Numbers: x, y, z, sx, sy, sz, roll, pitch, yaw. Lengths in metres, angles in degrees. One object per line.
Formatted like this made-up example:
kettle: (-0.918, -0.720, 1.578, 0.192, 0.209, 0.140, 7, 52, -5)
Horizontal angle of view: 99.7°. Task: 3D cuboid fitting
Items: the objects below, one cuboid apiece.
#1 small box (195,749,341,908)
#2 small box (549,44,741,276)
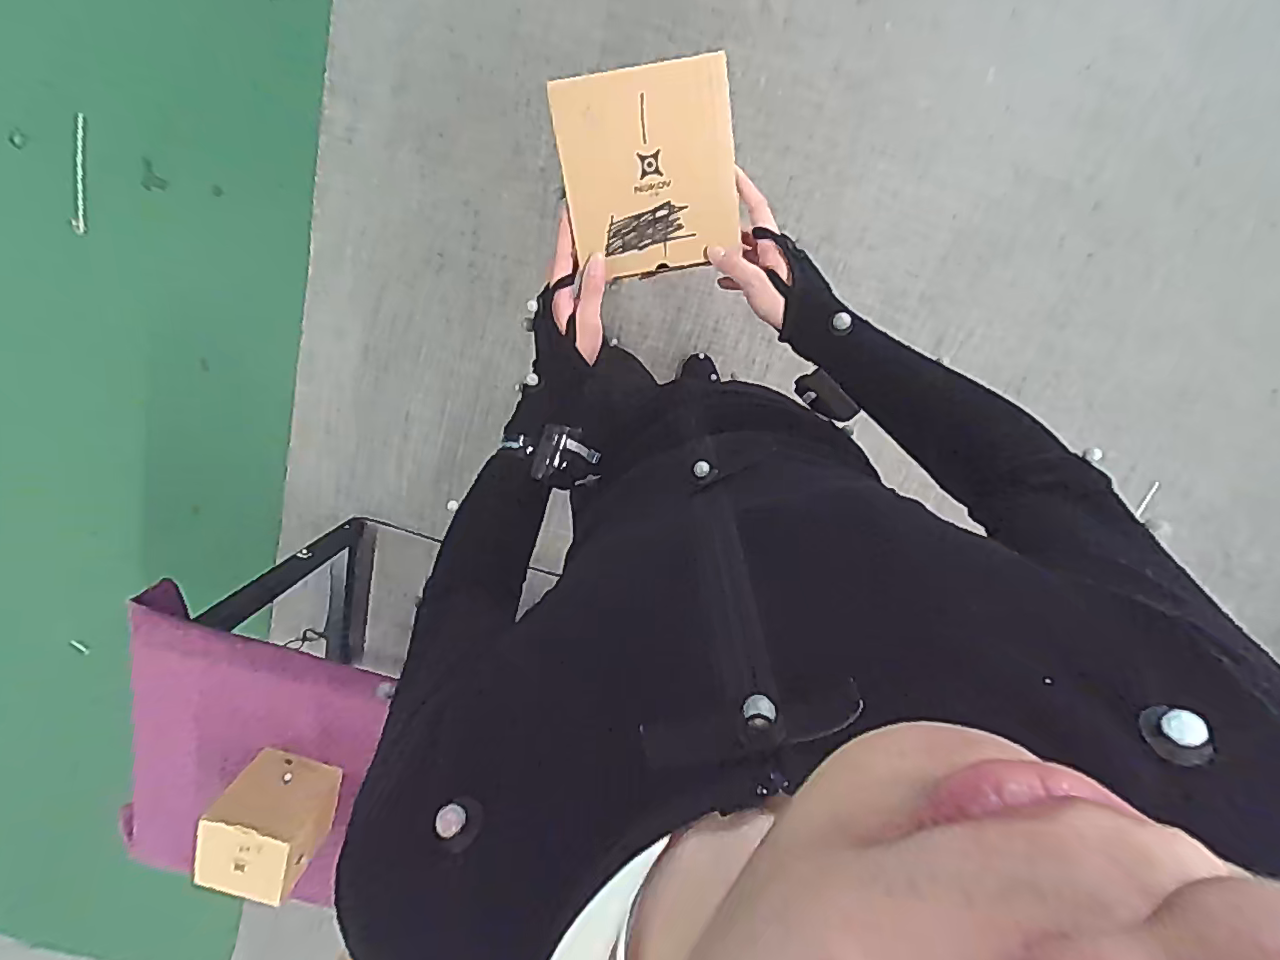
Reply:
small box: (-0.716, 0.672, 1.056, 0.168, 0.176, 0.179, 18, 107, -2)
small box: (0.007, -0.323, 0.583, 0.168, 0.176, 0.179, -9, 110, 0)
